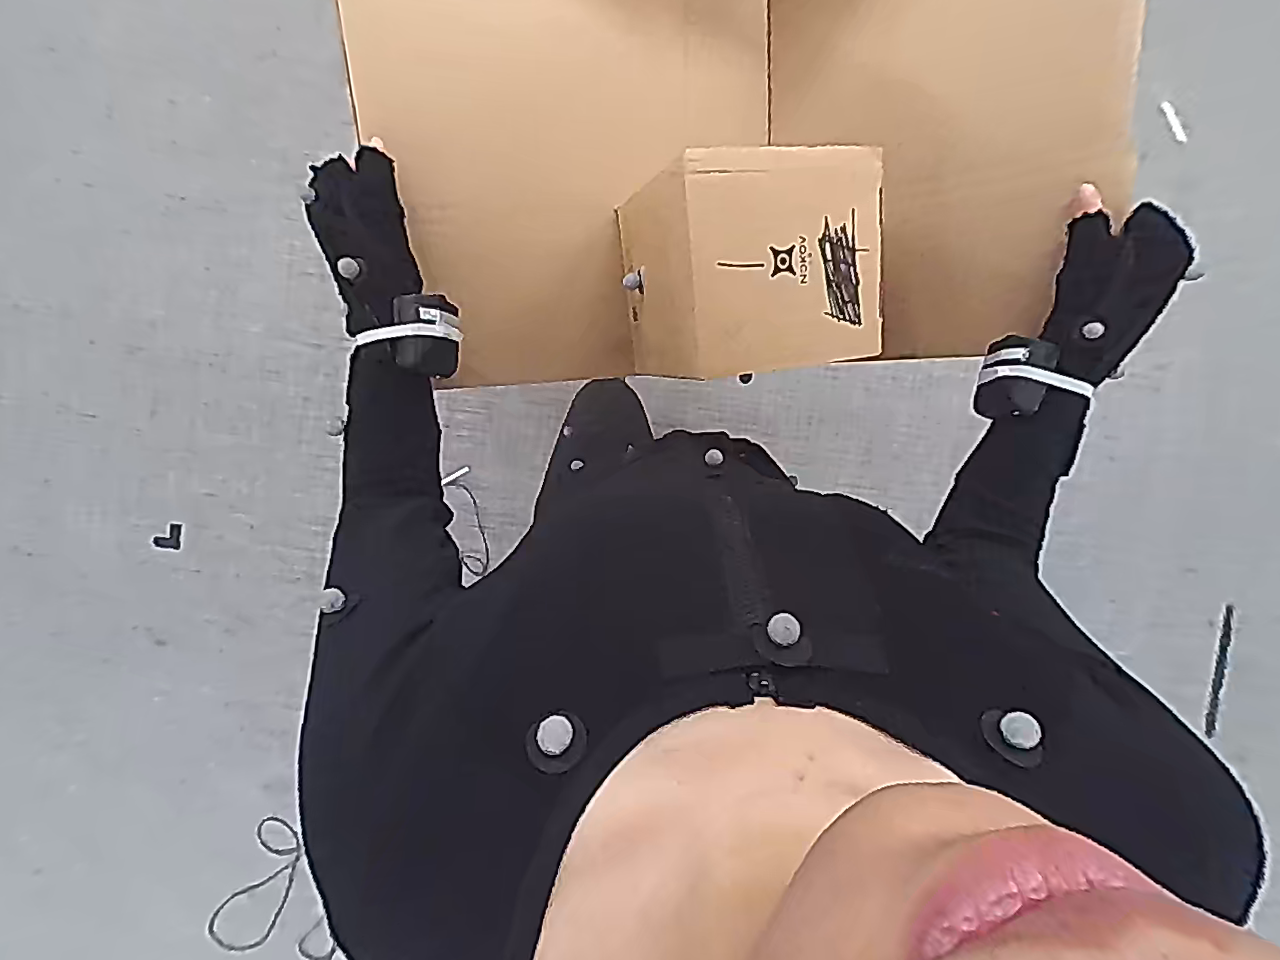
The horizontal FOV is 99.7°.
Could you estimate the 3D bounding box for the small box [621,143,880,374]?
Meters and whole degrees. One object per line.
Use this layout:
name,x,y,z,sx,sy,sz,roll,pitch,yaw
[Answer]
small box,0.094,-0.194,0.504,0.179,0.176,0.168,-11,105,-15
